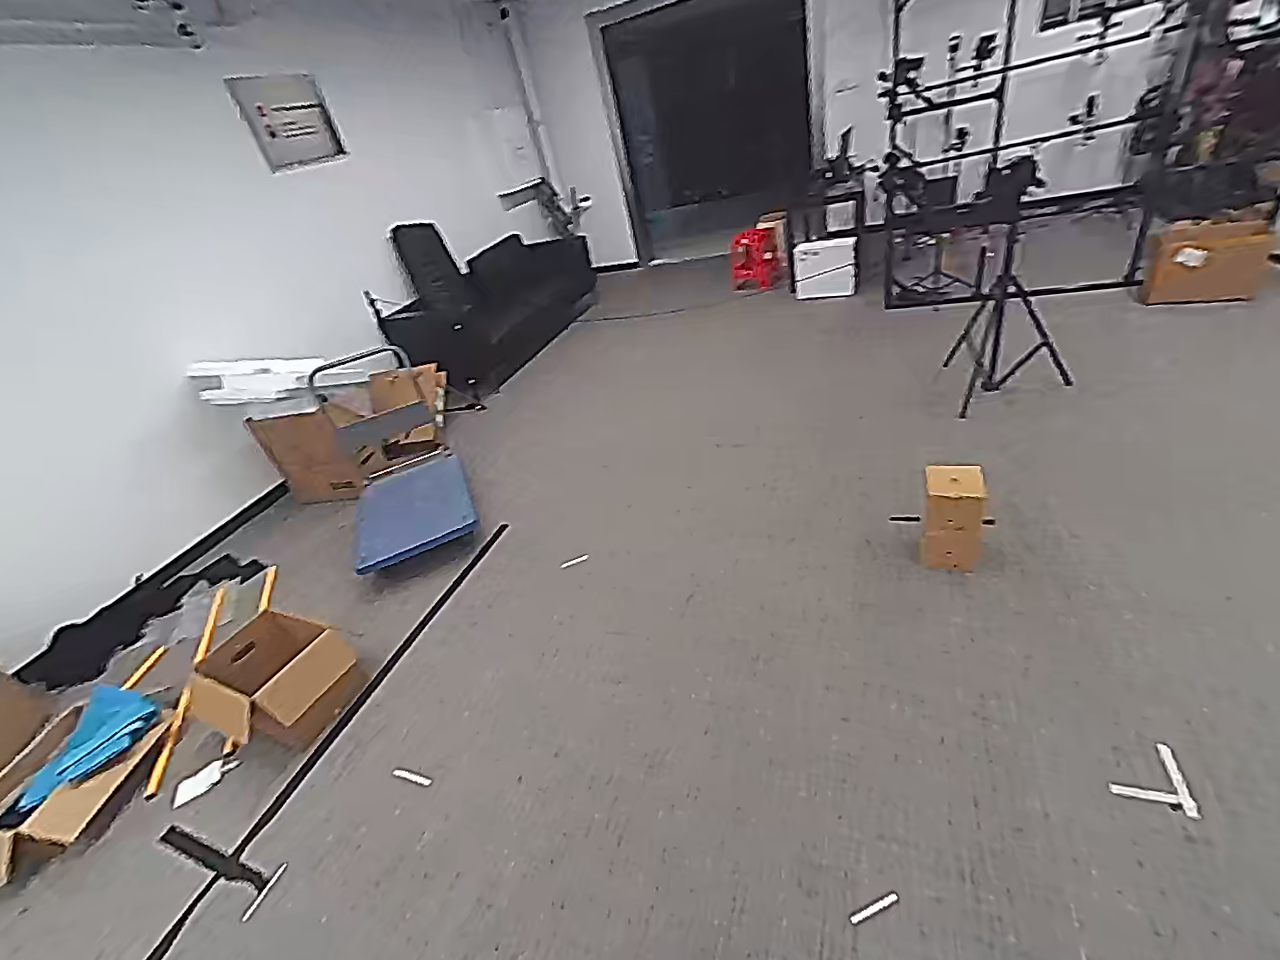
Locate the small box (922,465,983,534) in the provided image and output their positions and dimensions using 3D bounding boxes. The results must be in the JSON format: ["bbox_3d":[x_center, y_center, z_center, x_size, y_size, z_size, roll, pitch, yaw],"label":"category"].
[{"bbox_3d":[1.079,0.067,1.877,0.168,0.176,0.179,1,37,24],"label":"small box"}]

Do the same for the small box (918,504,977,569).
[{"bbox_3d":[1.109,0.204,1.960,0.168,0.176,0.179,0,35,22],"label":"small box"}]
